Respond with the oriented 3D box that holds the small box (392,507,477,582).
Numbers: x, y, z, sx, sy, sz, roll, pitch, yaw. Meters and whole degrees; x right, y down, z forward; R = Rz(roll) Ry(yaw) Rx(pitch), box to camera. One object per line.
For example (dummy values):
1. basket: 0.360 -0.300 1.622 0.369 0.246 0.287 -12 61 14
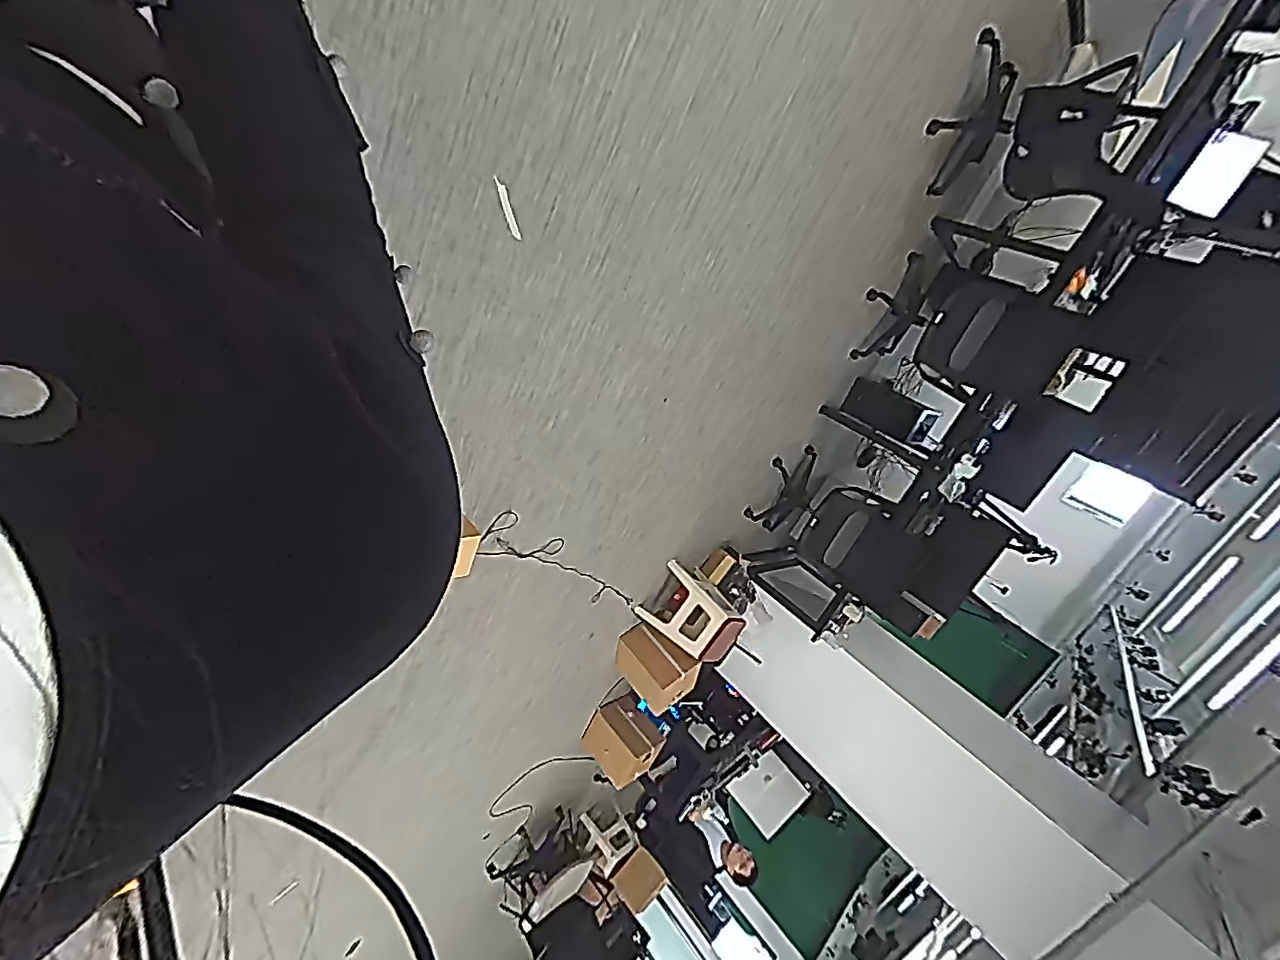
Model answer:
1. small box: -0.655 0.198 1.721 0.179 0.176 0.168 0 121 -50
